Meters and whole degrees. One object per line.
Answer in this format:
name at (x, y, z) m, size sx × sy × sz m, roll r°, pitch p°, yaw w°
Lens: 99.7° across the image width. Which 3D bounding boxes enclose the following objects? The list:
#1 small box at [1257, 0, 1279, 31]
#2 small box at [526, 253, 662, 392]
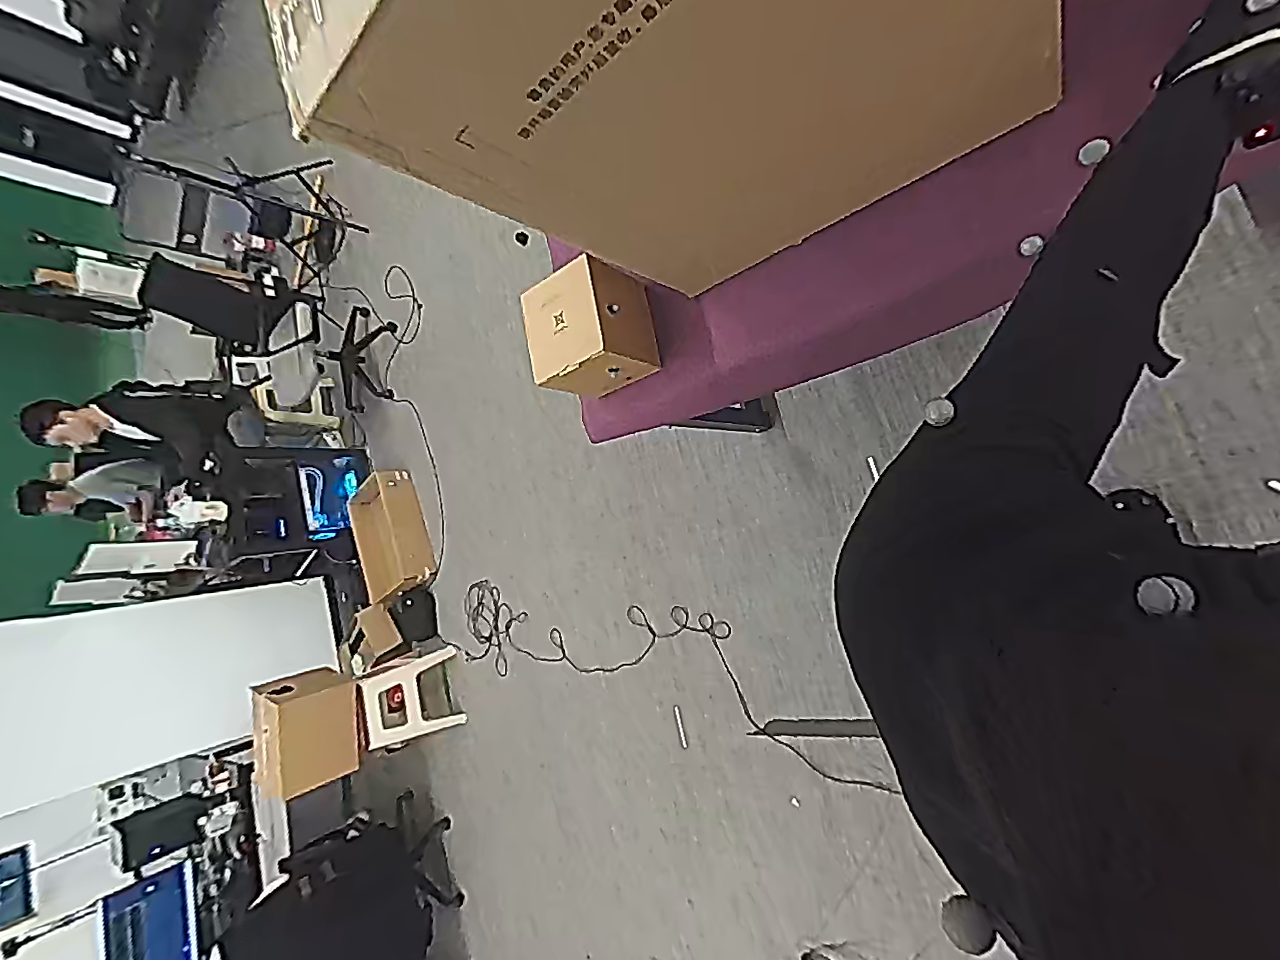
small box at (0.607, -0.495, 0.410) m, size 0.168 × 0.176 × 0.179 m, roll -3°, pitch 91°, yaw 40°
small box at (-0.078, -0.268, 0.974) m, size 0.168 × 0.176 × 0.179 m, roll -17°, pitch 78°, yaw 35°
